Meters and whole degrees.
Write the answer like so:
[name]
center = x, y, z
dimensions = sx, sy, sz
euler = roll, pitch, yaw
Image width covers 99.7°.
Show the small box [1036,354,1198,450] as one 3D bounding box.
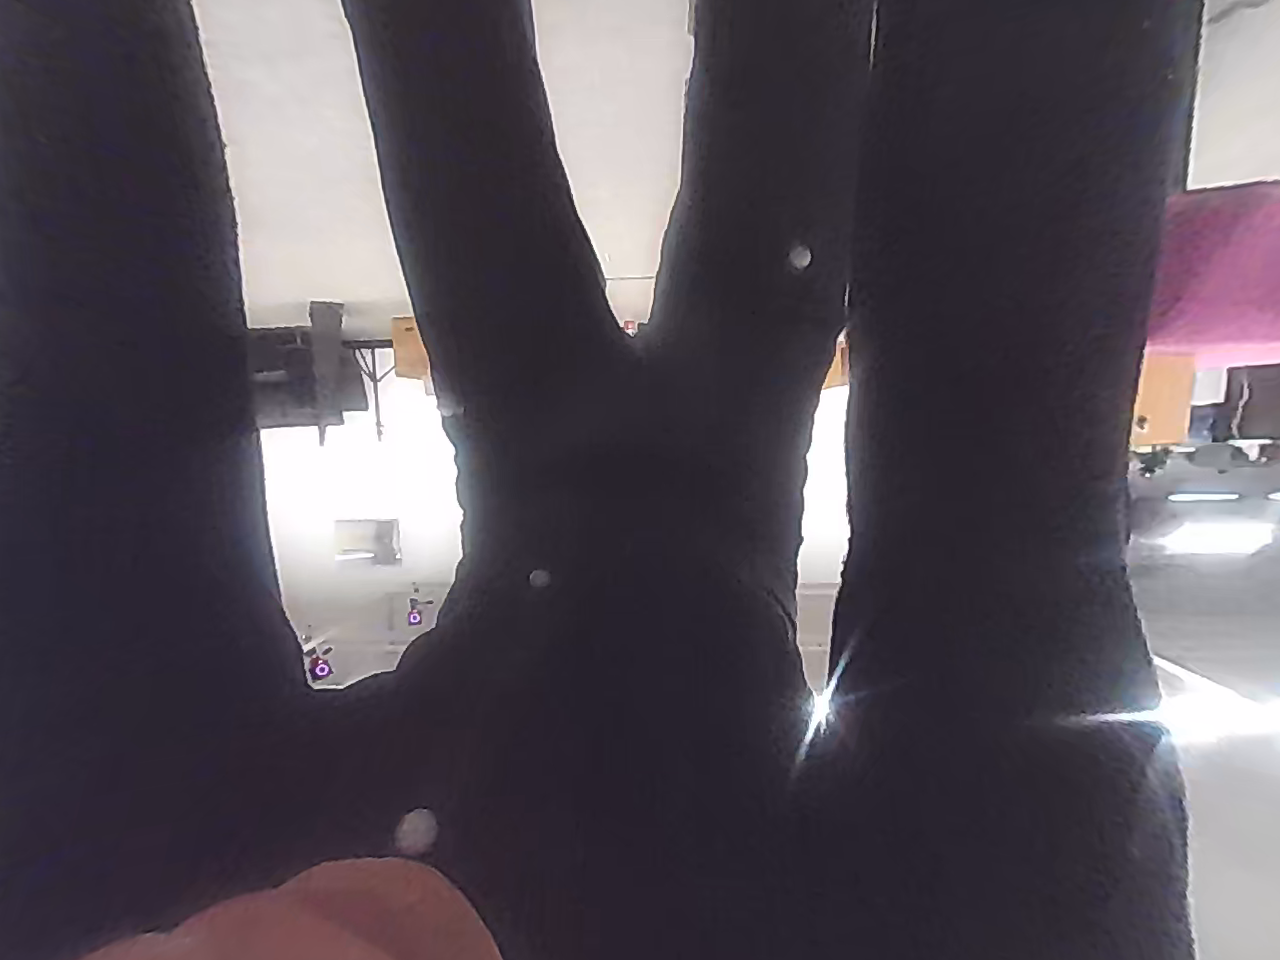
[small box]
center = 0.913, -0.151, 1.044
dimensions = 0.179, 0.176, 0.168
euler = 0, -173, 4
